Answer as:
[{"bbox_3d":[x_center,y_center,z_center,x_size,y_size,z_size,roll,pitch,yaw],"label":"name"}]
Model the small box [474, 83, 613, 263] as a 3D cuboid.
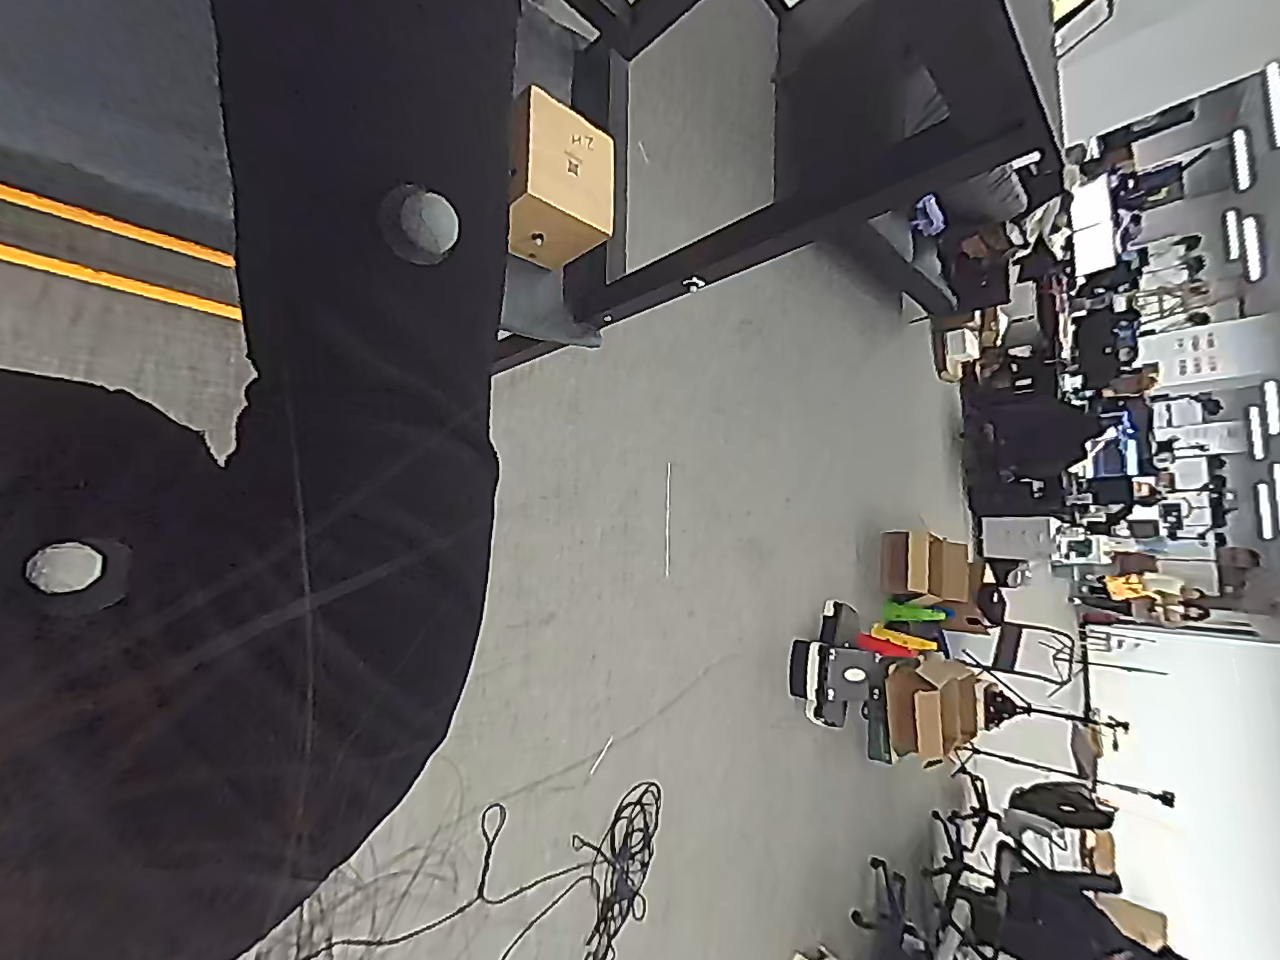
[{"bbox_3d":[-0.162,-0.491,0.902,0.168,0.176,0.179,6,81,-45],"label":"small box"}]
